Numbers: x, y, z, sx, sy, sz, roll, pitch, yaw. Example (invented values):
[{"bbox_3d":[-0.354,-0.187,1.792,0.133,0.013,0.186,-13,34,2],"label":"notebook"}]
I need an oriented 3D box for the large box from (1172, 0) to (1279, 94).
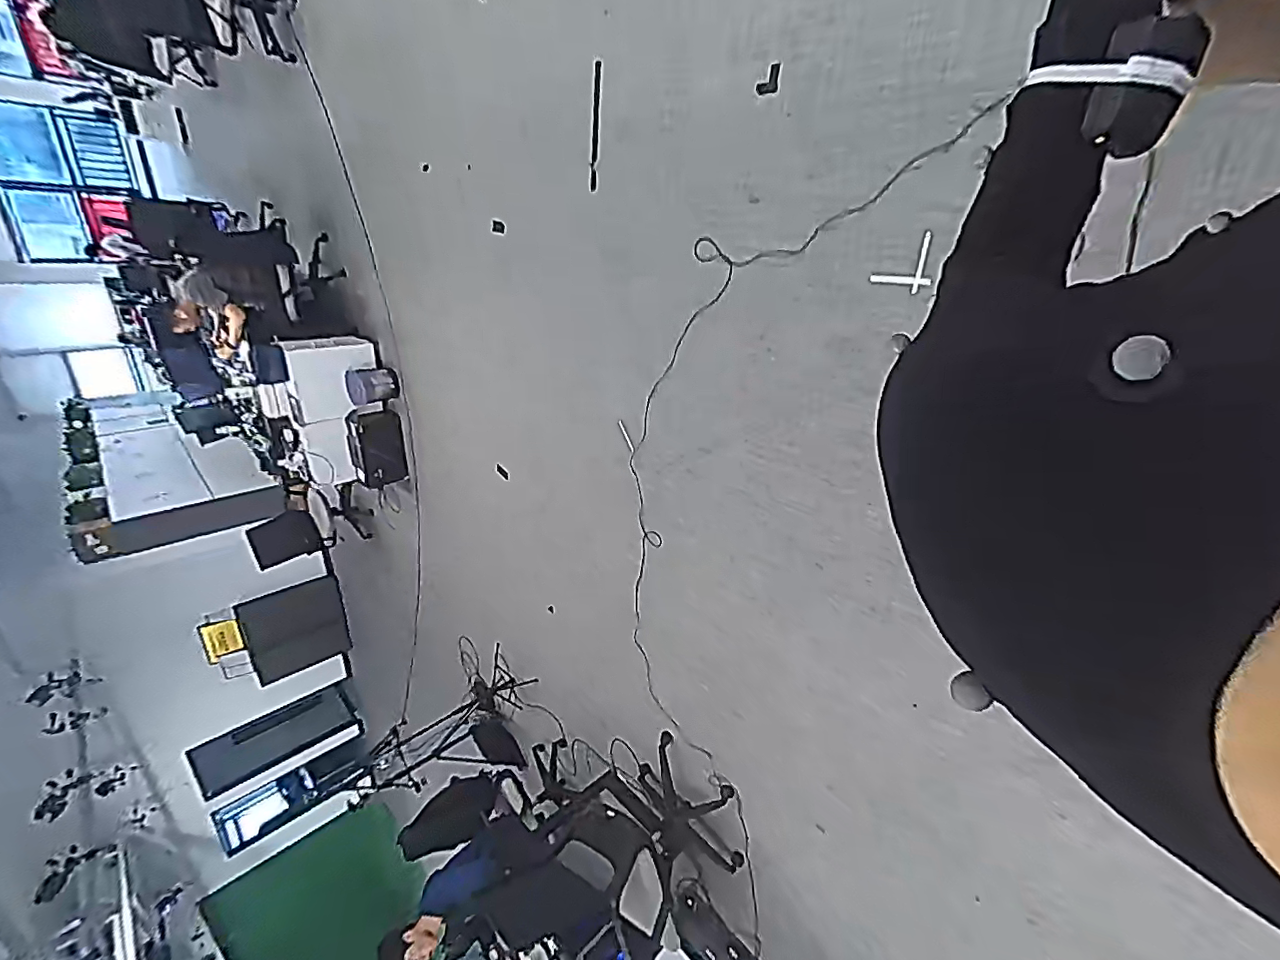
[{"bbox_3d":[0.577,-0.408,0.252,0.408,0.320,0.320,25,125,36],"label":"large box"}]
